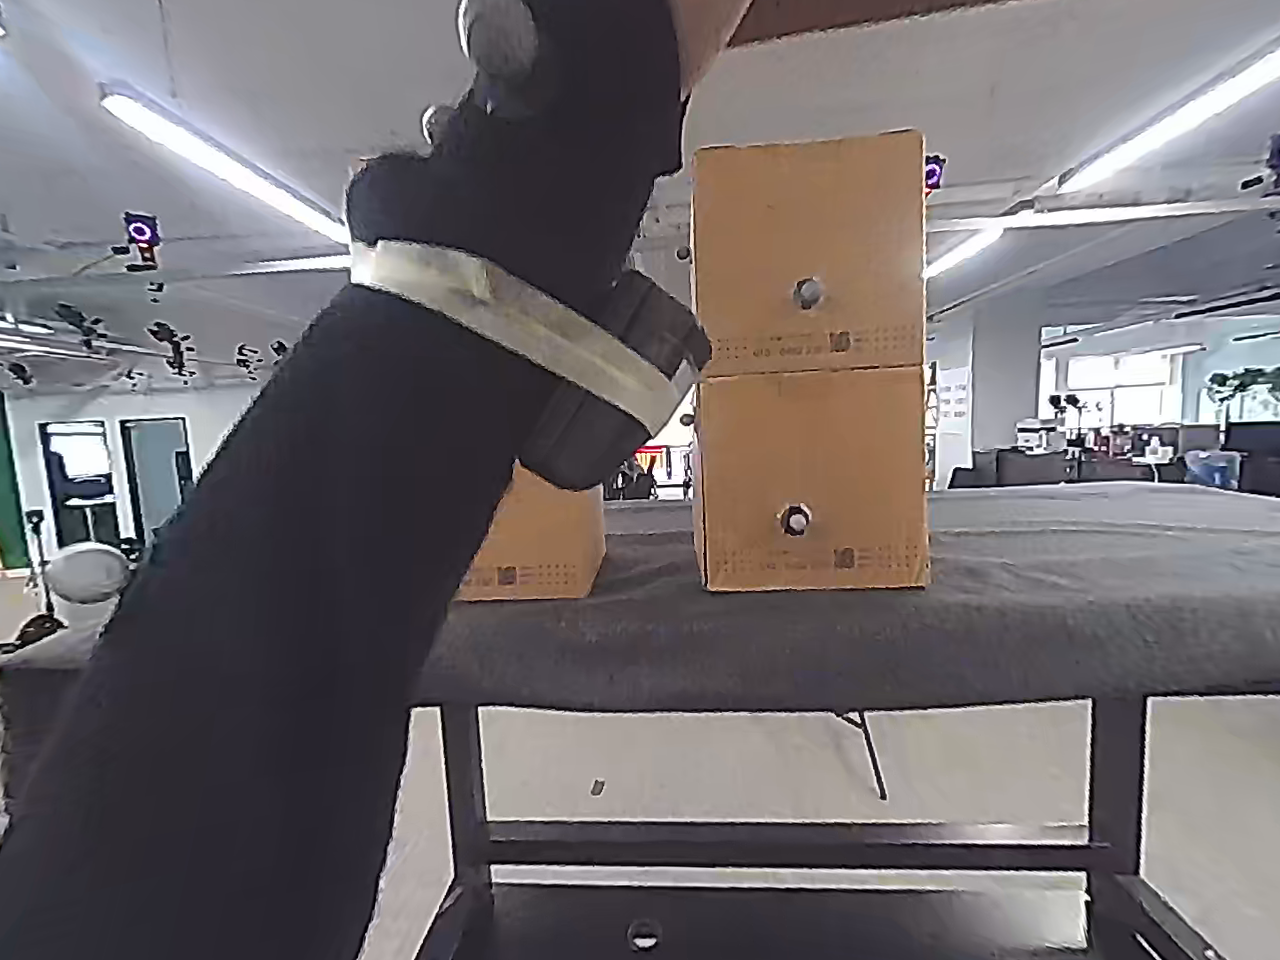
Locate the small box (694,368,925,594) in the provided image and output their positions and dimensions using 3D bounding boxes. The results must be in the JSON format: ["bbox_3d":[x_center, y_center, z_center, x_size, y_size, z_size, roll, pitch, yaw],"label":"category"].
[{"bbox_3d":[0.133,-0.002,0.485,0.168,0.176,0.179,-2,4,3],"label":"small box"}]

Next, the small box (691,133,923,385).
[{"bbox_3d":[0.130,-0.167,0.479,0.168,0.176,0.179,-2,4,5],"label":"small box"}]

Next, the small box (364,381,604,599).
[{"bbox_3d":[-0.122,0.007,0.493,0.168,0.176,0.179,-1,3,1],"label":"small box"}]
